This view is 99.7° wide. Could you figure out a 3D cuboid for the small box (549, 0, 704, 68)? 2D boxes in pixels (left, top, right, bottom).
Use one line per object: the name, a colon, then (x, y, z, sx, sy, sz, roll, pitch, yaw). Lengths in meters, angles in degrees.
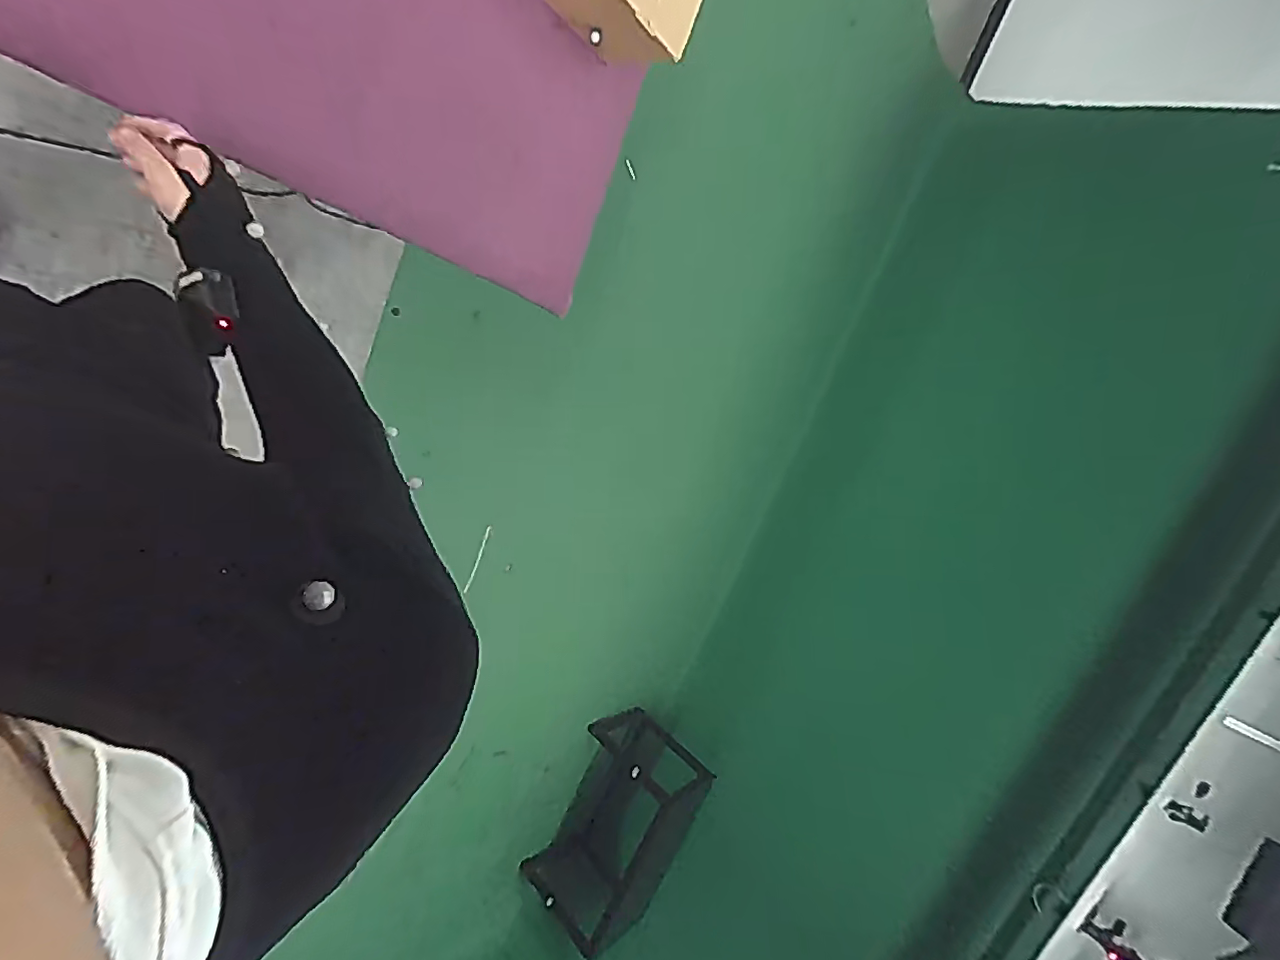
small box: (-0.013, -0.769, 0.818, 0.168, 0.176, 0.179, 9, 108, -51)
